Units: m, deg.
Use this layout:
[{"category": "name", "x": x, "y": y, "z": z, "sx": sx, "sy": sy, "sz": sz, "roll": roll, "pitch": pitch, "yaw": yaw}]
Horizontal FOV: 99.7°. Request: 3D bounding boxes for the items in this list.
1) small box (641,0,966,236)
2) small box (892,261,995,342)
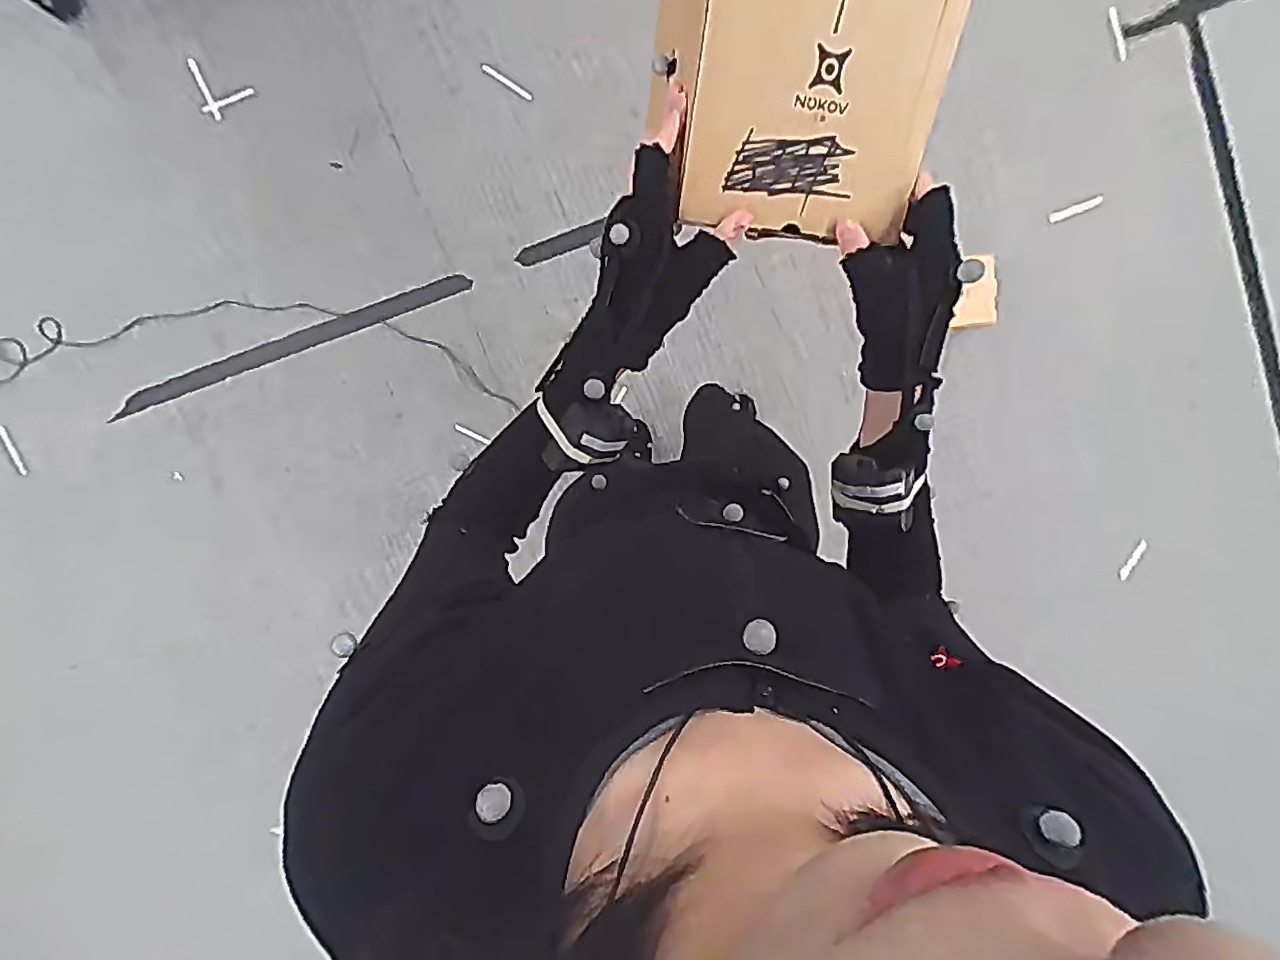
[{"category": "small box", "x": 0.099, "y": -0.291, "z": 0.403, "sx": 0.168, "sy": 0.176, "sz": 0.179, "roll": 2, "pitch": 116, "yaw": -12}, {"category": "small box", "x": 0.785, "y": -0.458, "z": 1.407, "sx": 0.179, "sy": 0.176, "sz": 0.168, "roll": -5, "pitch": 96, "yaw": -1}]
